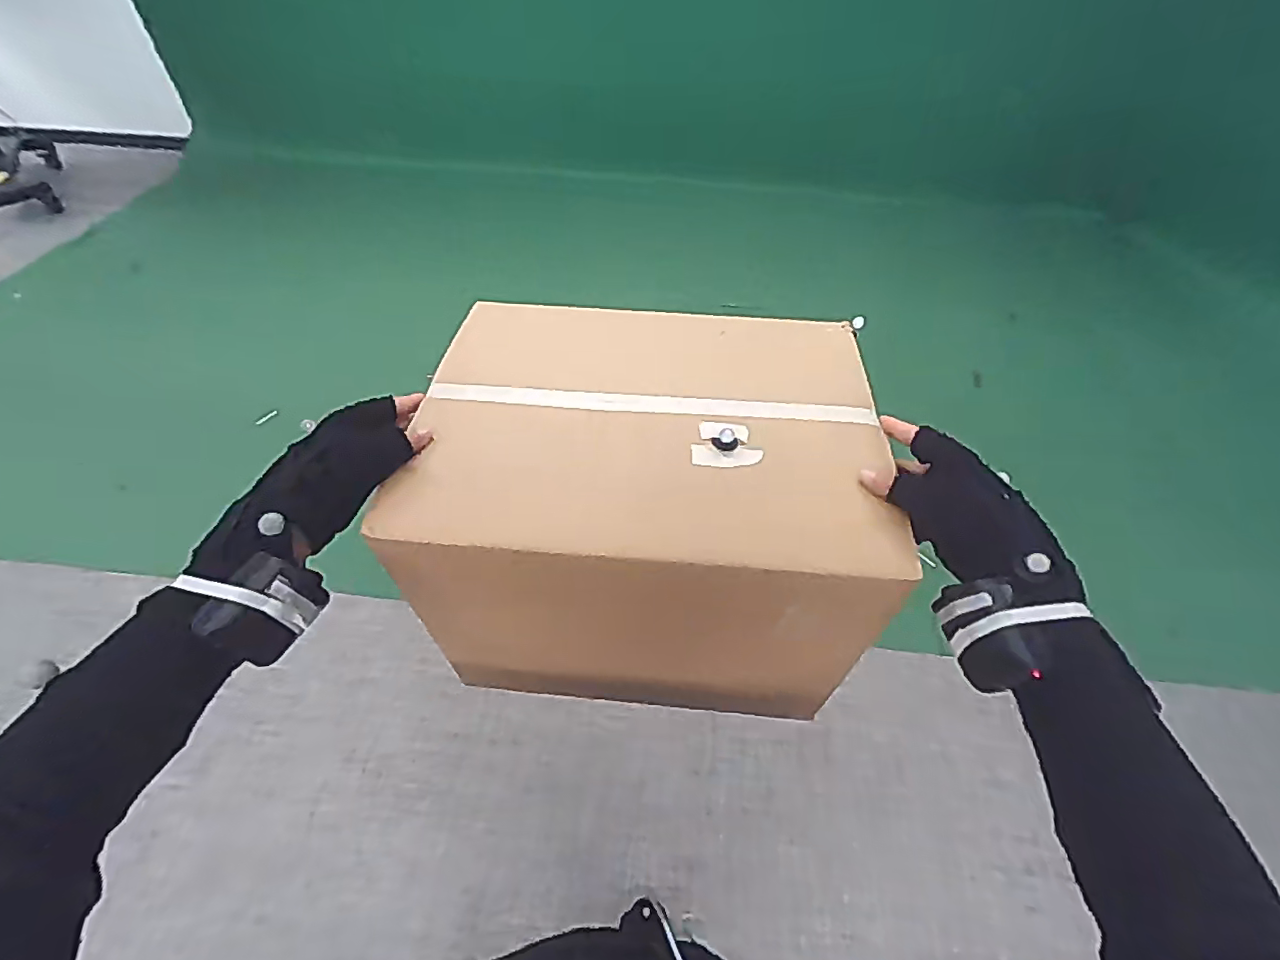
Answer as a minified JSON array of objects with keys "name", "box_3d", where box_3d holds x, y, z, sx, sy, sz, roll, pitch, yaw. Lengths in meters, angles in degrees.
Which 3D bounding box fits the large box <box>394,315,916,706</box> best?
[{"name":"large box","box_3d":[0.014,0.039,0.612,0.408,0.320,0.320,4,50,2]}]
